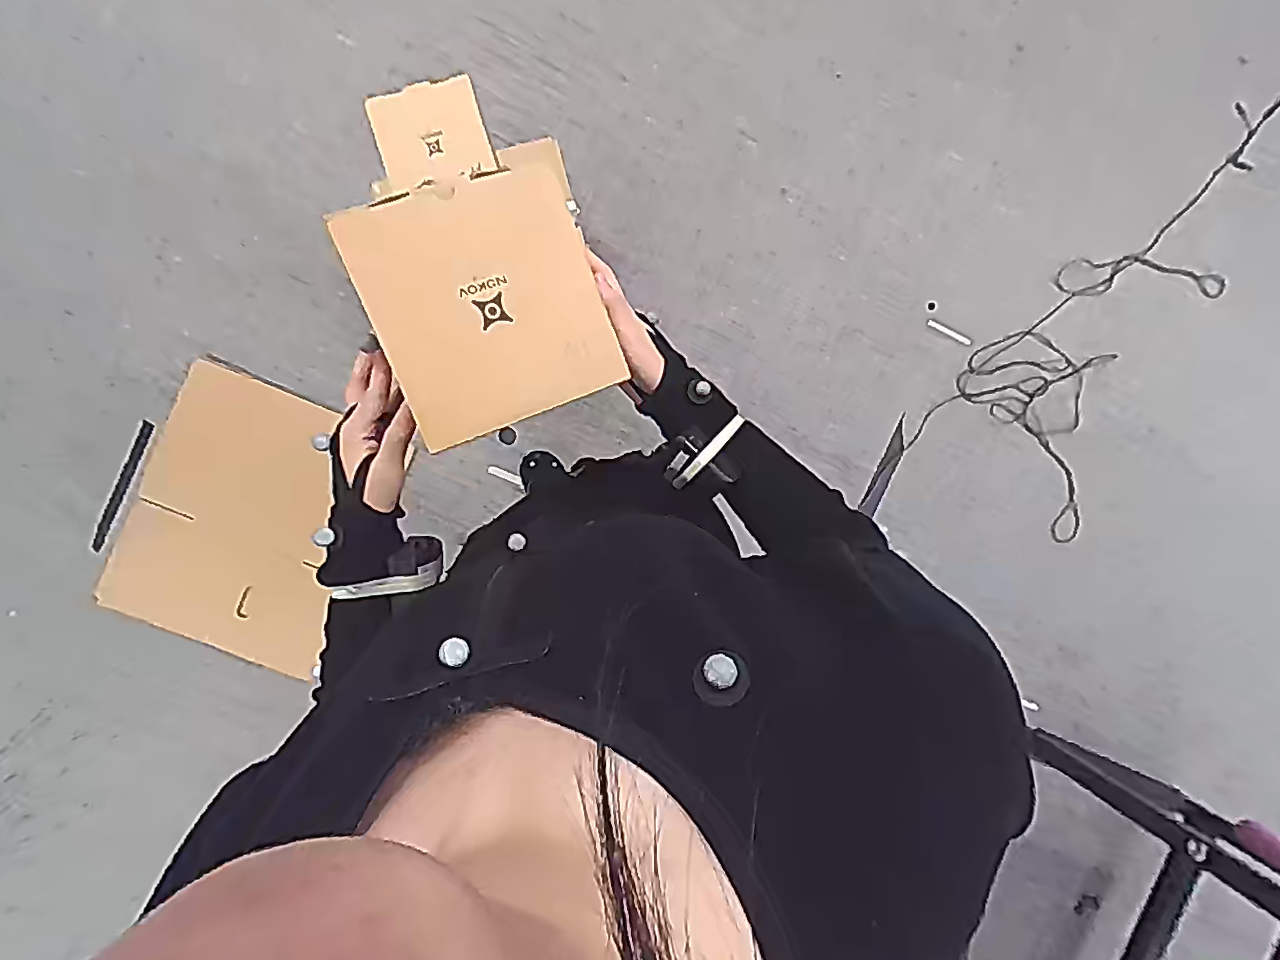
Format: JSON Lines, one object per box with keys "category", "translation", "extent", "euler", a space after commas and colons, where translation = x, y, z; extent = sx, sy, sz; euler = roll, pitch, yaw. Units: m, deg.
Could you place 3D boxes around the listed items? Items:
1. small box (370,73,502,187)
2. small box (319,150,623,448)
{"category": "small box", "translation": [-0.314, -0.519, 0.905], "extent": [0.168, 0.176, 0.179], "euler": [-17, 92, -2]}
{"category": "small box", "translation": [-0.134, -0.138, 0.468], "extent": [0.168, 0.176, 0.179], "euler": [-24, 100, -14]}
